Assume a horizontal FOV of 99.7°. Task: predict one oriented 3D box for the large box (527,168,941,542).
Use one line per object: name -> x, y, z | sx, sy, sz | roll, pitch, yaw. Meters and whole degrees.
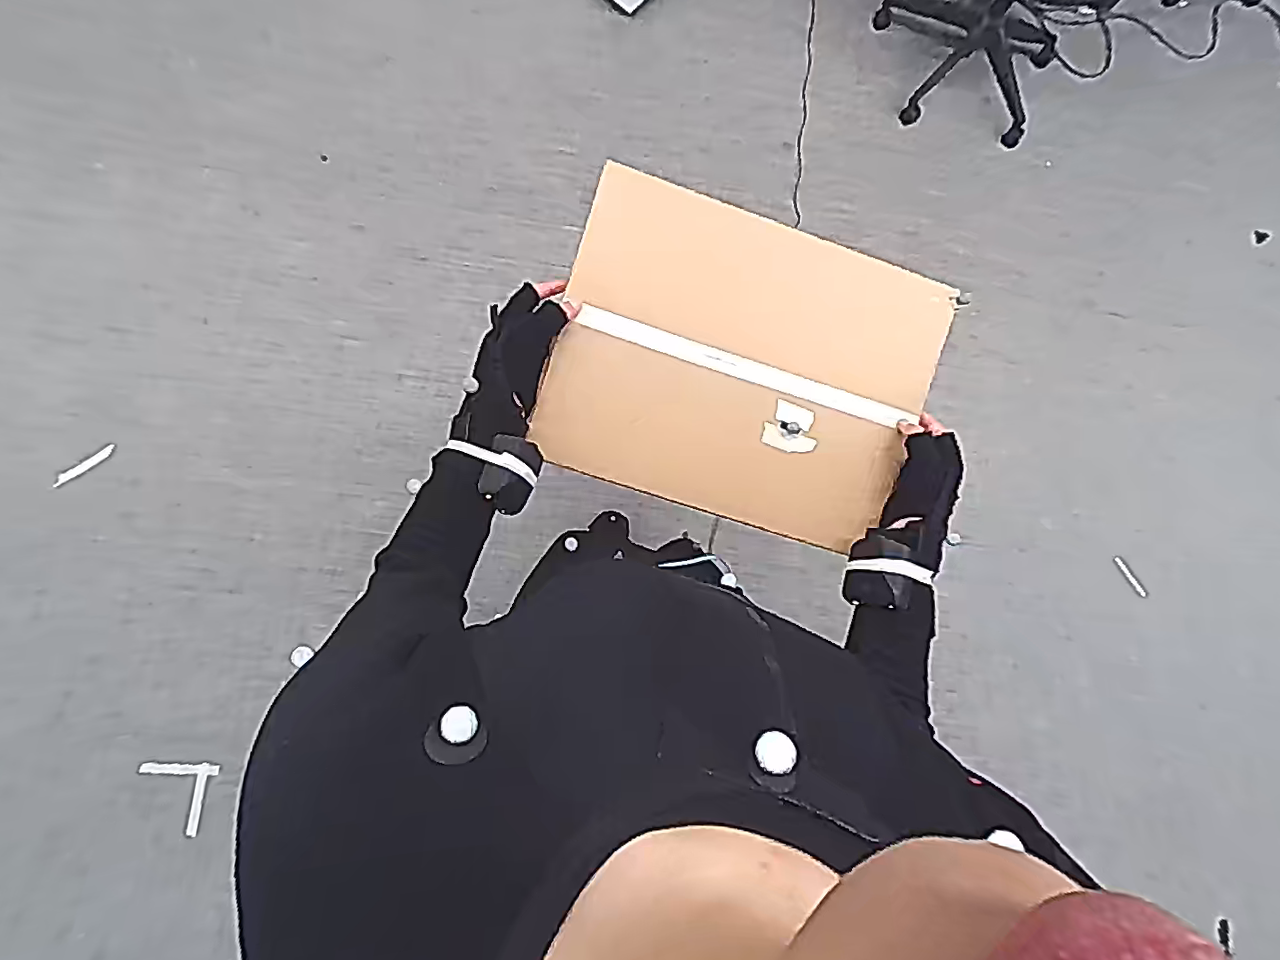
large box -> 0.093, -0.138, 0.739 | 0.408, 0.320, 0.320 | 18, 93, -6
